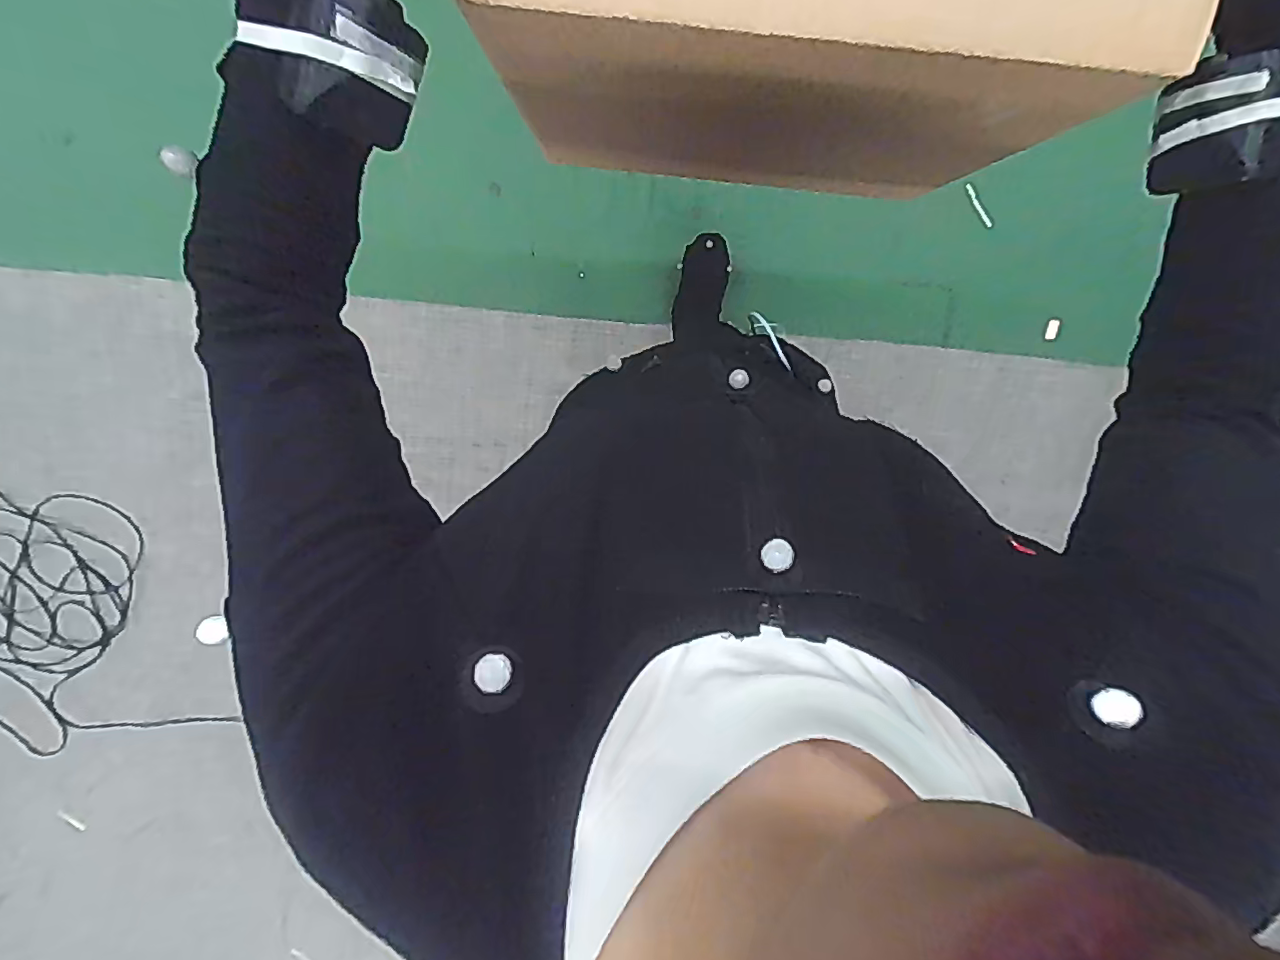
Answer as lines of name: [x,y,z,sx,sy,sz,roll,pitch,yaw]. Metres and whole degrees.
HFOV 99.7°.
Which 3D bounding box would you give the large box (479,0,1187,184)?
large box: [0.112,-0.438,0.404,0.408,0.320,0.320,4,107,-1]
